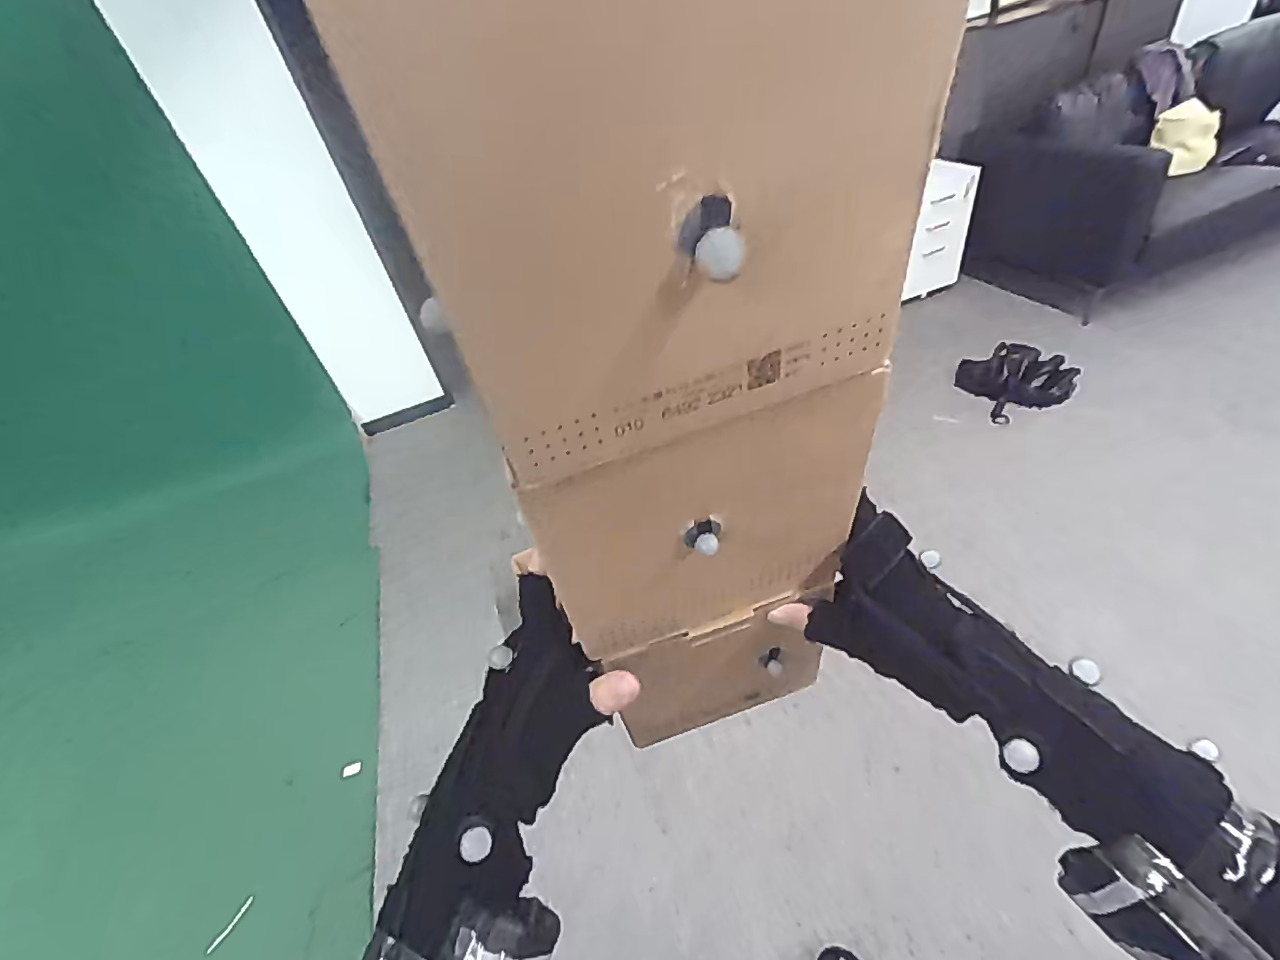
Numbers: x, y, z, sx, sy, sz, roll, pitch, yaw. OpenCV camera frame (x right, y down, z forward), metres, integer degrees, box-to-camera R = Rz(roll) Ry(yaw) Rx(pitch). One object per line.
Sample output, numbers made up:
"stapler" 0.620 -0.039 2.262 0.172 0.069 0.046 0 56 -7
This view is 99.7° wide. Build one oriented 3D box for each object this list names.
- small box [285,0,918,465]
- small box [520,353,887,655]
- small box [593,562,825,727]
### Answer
"small box" -0.011 -0.127 0.229 0.168 0.176 0.179 -20 48 -7
"small box" 0.017 -0.019 0.348 0.179 0.176 0.168 -20 48 -9
"small box" 0.039 0.090 0.469 0.168 0.176 0.179 -18 46 -6
